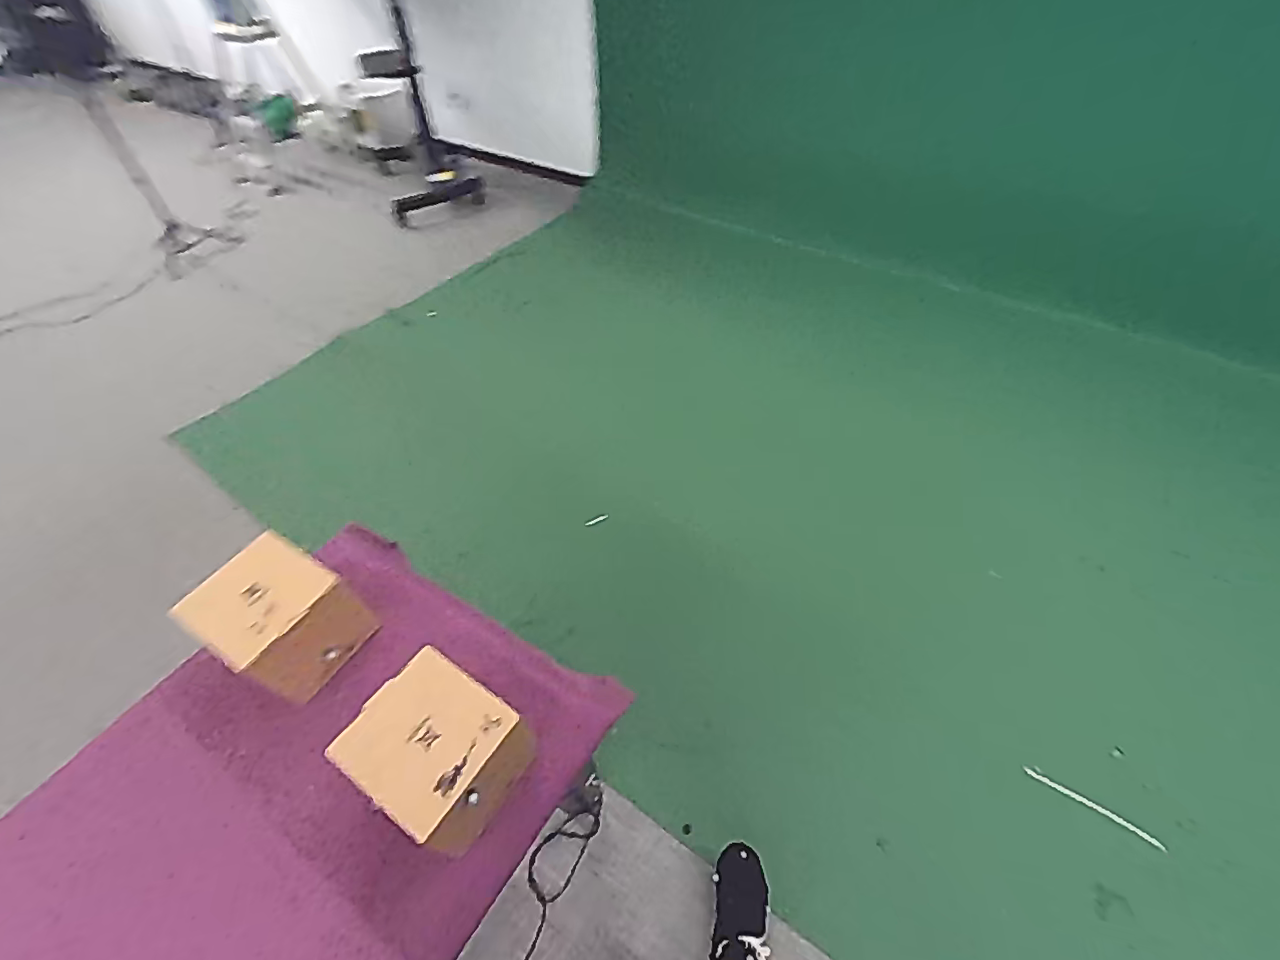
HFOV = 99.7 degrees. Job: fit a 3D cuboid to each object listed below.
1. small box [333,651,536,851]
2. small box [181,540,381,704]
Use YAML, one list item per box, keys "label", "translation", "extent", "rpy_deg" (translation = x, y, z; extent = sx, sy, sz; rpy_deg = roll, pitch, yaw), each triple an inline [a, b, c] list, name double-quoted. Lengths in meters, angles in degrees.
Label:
- label: "small box"
  translation: [-0.271, 0.378, 0.748]
  extent: [0.179, 0.176, 0.168]
  rpy_deg: [26, 57, 22]
- label: "small box"
  translation: [-0.568, 0.235, 0.879]
  extent: [0.179, 0.176, 0.168]
  rpy_deg: [25, 58, 20]
